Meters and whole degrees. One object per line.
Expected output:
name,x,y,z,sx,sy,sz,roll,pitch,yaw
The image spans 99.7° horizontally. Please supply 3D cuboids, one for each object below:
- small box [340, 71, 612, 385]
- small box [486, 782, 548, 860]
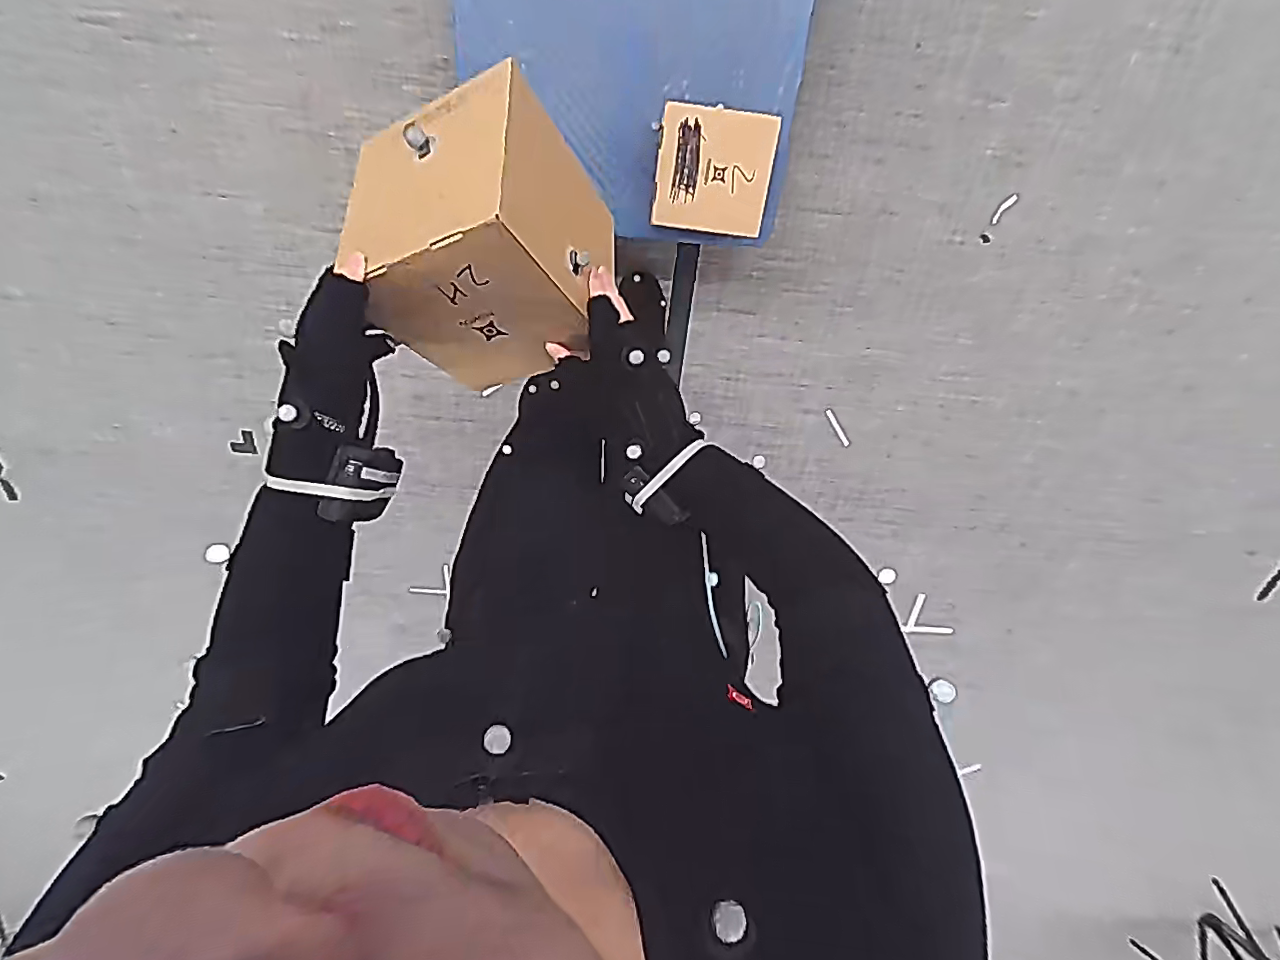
small box,-0.133,-0.217,0.503,0.168,0.176,0.179,-11,156,22
small box,-0.421,1.187,1.883,0.168,0.176,0.179,-1,118,2
